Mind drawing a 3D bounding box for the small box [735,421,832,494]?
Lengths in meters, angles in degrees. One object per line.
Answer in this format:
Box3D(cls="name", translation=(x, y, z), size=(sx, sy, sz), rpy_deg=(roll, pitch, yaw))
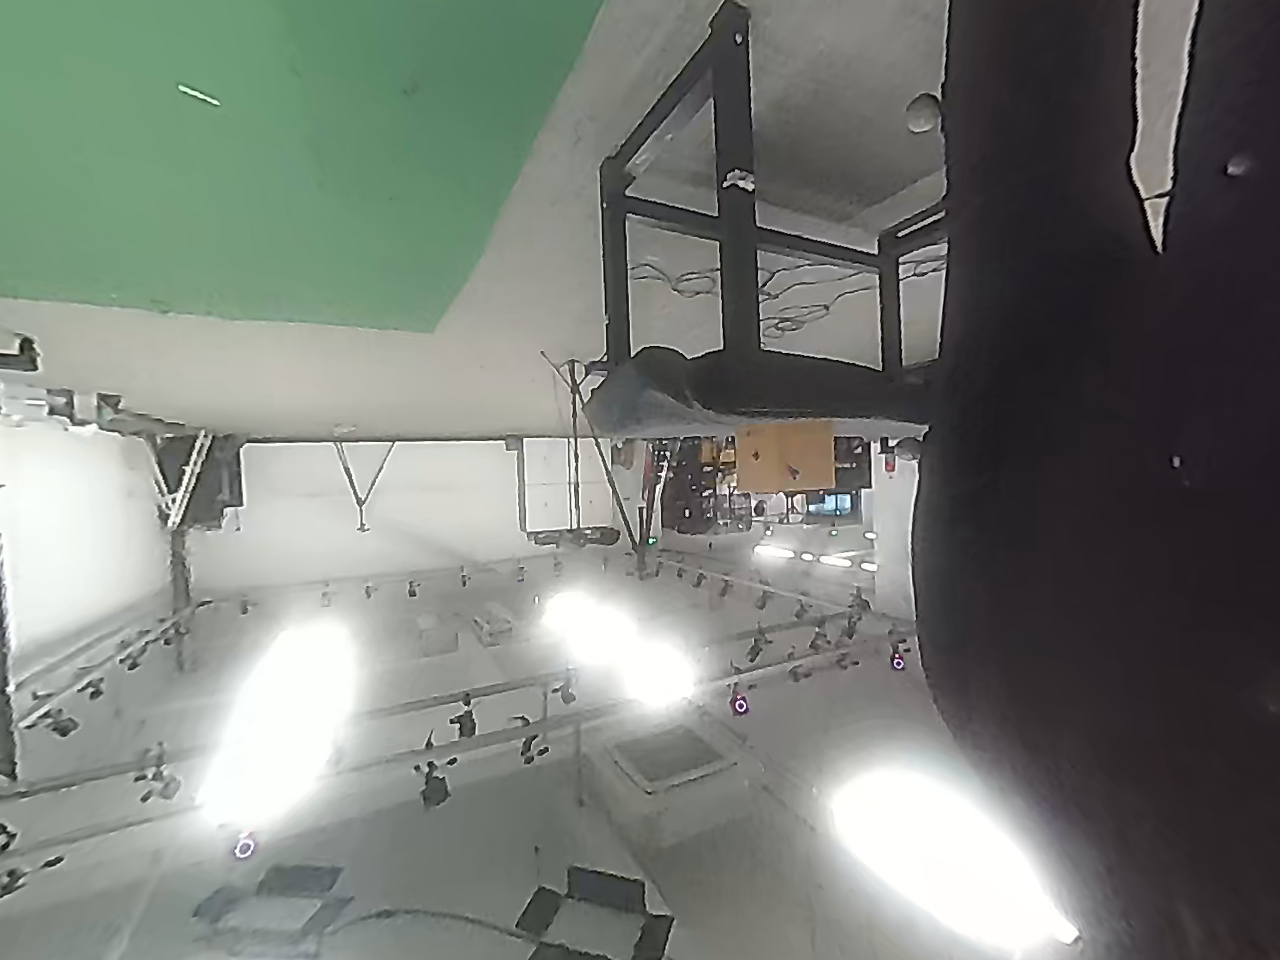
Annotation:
Box3D(cls="small box", translation=(0.350, -0.053, 1.337), size=(0.179, 0.176, 0.168), rpy_deg=(-3, -179, -26))
